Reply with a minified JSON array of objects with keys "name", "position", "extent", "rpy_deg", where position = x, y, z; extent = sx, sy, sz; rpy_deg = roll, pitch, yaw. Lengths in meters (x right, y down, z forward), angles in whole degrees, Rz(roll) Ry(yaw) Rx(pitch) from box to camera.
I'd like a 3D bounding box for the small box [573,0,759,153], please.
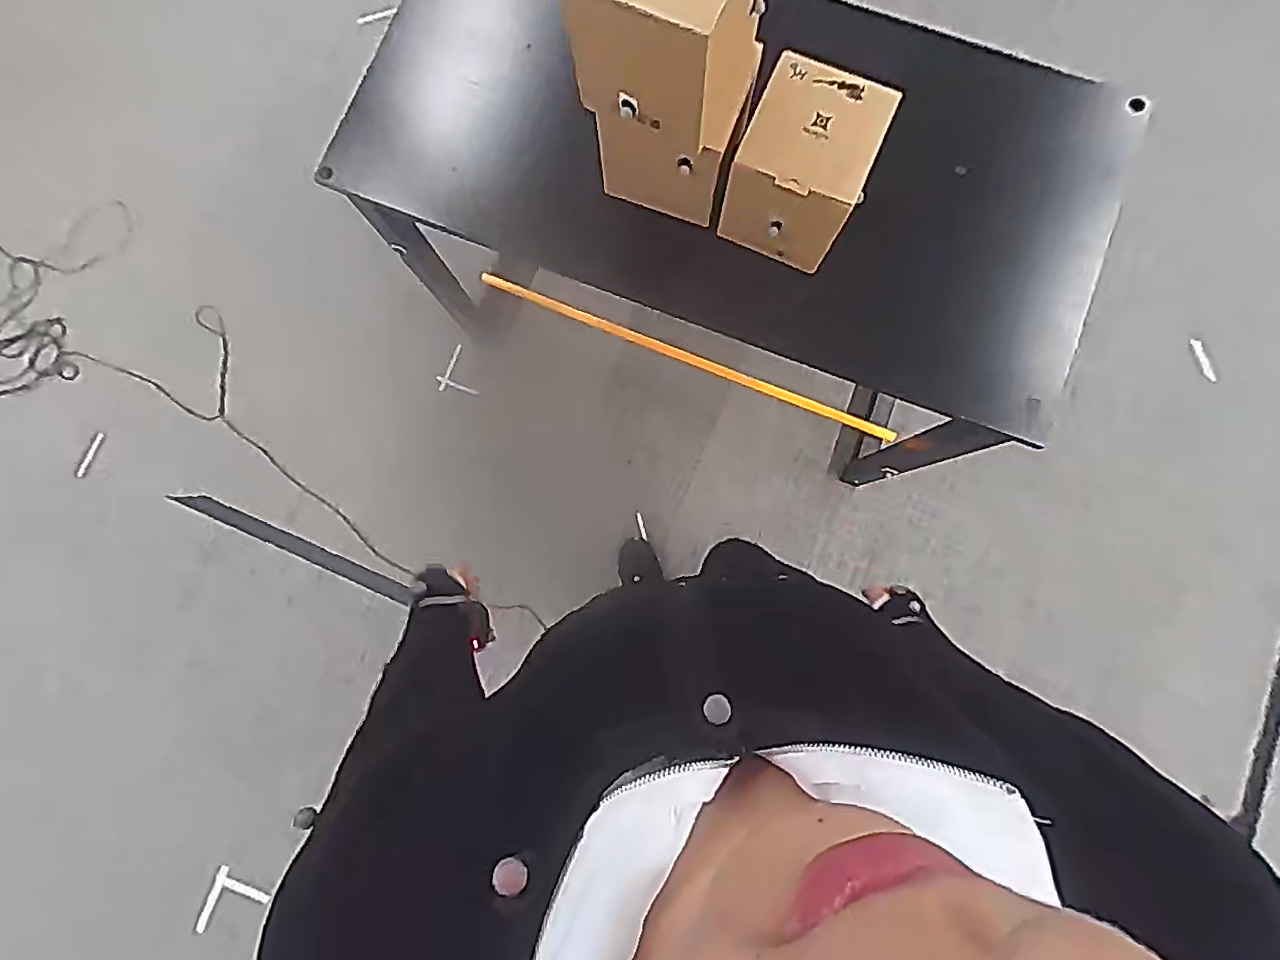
[{"name":"small box","position":[0.035,-0.530,0.619],"extent":[0.168,0.176,0.179],"rpy_deg":[24,85,5]}]
